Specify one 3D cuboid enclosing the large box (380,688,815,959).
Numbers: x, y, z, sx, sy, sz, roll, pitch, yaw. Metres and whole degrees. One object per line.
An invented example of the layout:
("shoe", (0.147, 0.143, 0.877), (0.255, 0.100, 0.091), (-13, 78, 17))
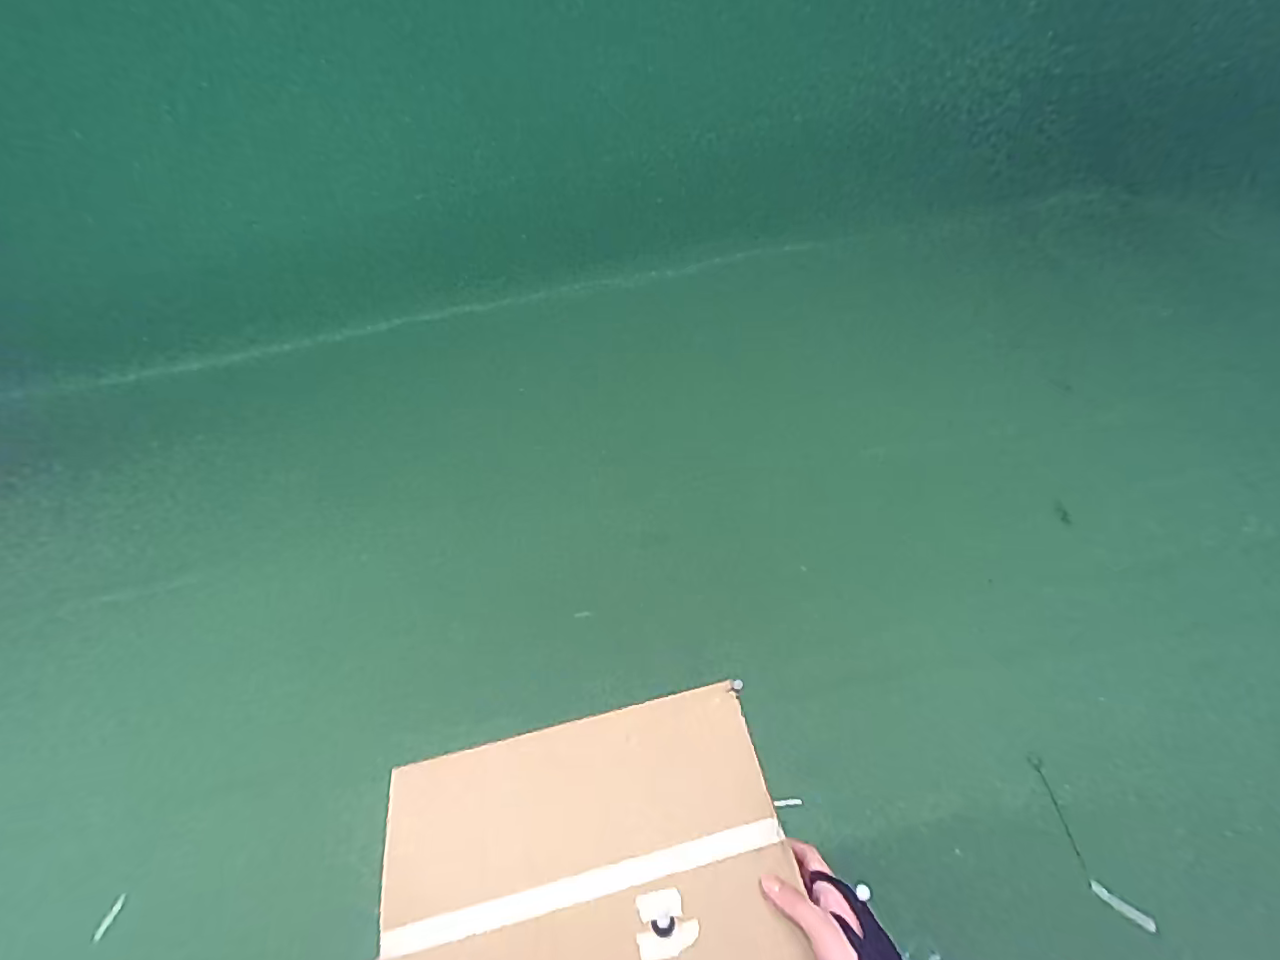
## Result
("large box", (-0.049, 0.506, 0.650), (0.408, 0.320, 0.320), (-13, 50, -6))
